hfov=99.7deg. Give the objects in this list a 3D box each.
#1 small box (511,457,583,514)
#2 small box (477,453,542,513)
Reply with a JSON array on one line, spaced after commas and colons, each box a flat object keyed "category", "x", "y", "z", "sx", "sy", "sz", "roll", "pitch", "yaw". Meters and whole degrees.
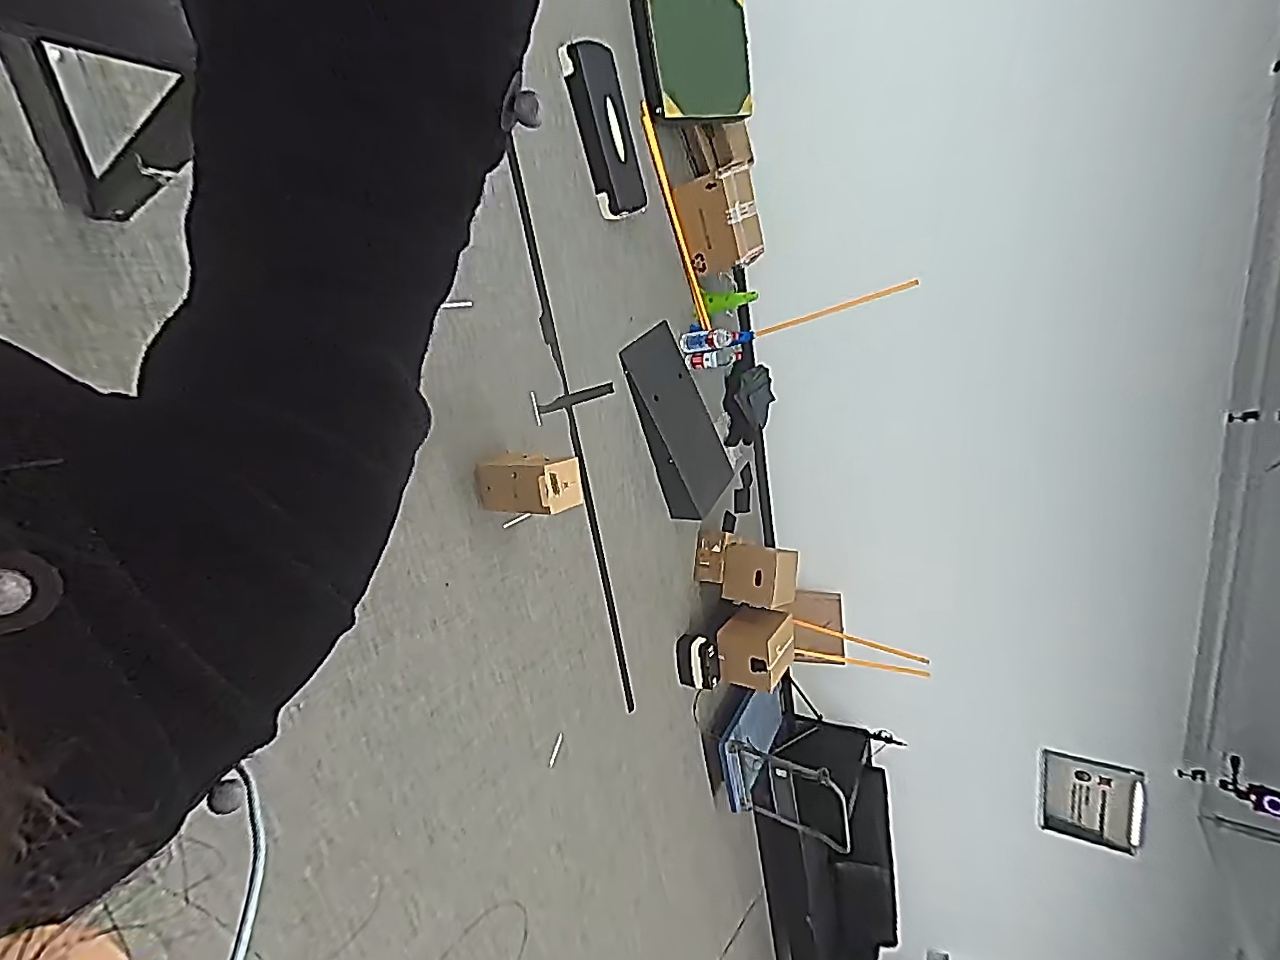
[{"category": "small box", "x": -0.322, "y": 0.016, "z": 1.841, "sx": 0.179, "sy": 0.176, "sz": 0.168, "roll": -21, "pitch": 109, "yaw": -55}, {"category": "small box", "x": -0.457, "y": 0.007, "z": 1.936, "sx": 0.168, "sy": 0.176, "sz": 0.179, "roll": -28, "pitch": 115, "yaw": -53}]
